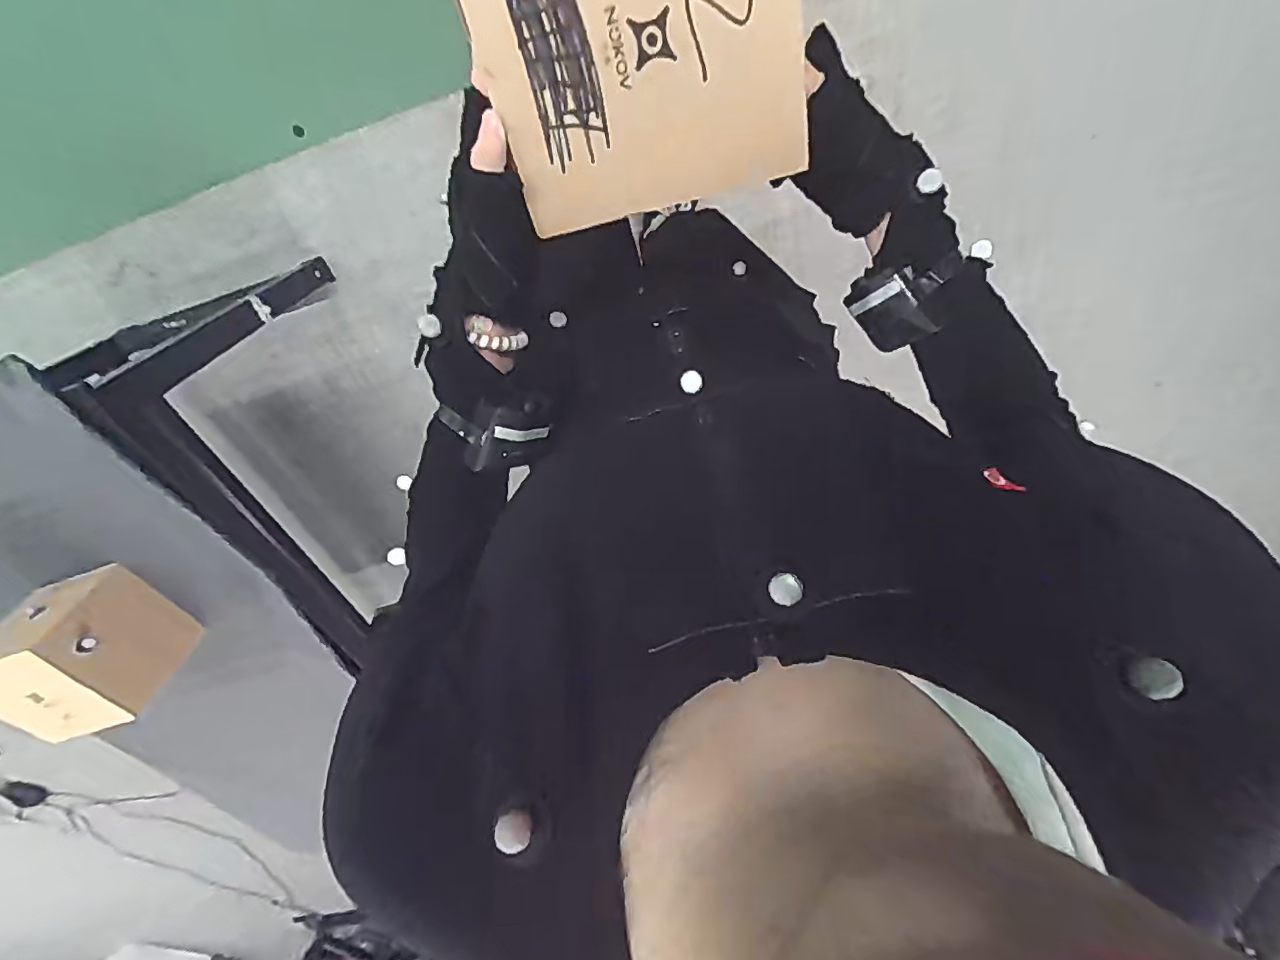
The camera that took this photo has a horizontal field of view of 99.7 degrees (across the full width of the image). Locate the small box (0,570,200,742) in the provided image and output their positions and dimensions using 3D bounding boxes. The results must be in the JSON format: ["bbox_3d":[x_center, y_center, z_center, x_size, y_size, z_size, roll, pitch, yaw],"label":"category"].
[{"bbox_3d":[-0.834,0.255,0.812,0.168,0.176,0.179,-17,125,8],"label":"small box"}]
